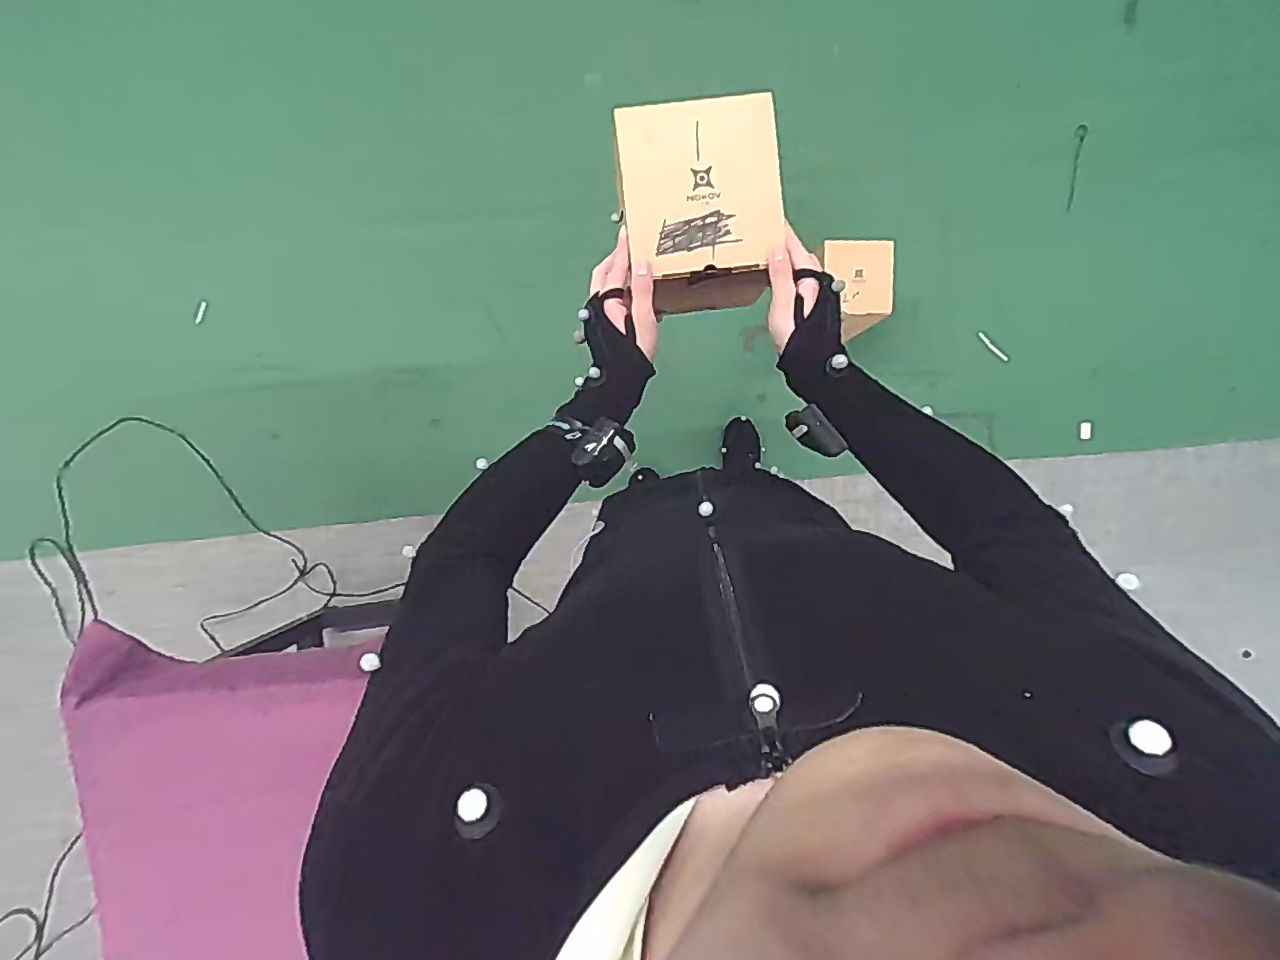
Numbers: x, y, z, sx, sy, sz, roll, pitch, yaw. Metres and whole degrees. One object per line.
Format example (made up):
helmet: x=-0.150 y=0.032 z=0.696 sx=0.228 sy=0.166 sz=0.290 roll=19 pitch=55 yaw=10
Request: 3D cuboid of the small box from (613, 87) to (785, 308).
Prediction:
small box: x=0.062 y=-0.309 z=0.632 sx=0.168 sy=0.176 sz=0.179 roll=-7 pitch=93 yaw=-1

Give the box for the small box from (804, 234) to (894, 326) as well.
small box: x=0.518 y=-0.496 z=1.359 sx=0.168 sy=0.176 sz=0.179 roll=1 pitch=93 yaw=1
